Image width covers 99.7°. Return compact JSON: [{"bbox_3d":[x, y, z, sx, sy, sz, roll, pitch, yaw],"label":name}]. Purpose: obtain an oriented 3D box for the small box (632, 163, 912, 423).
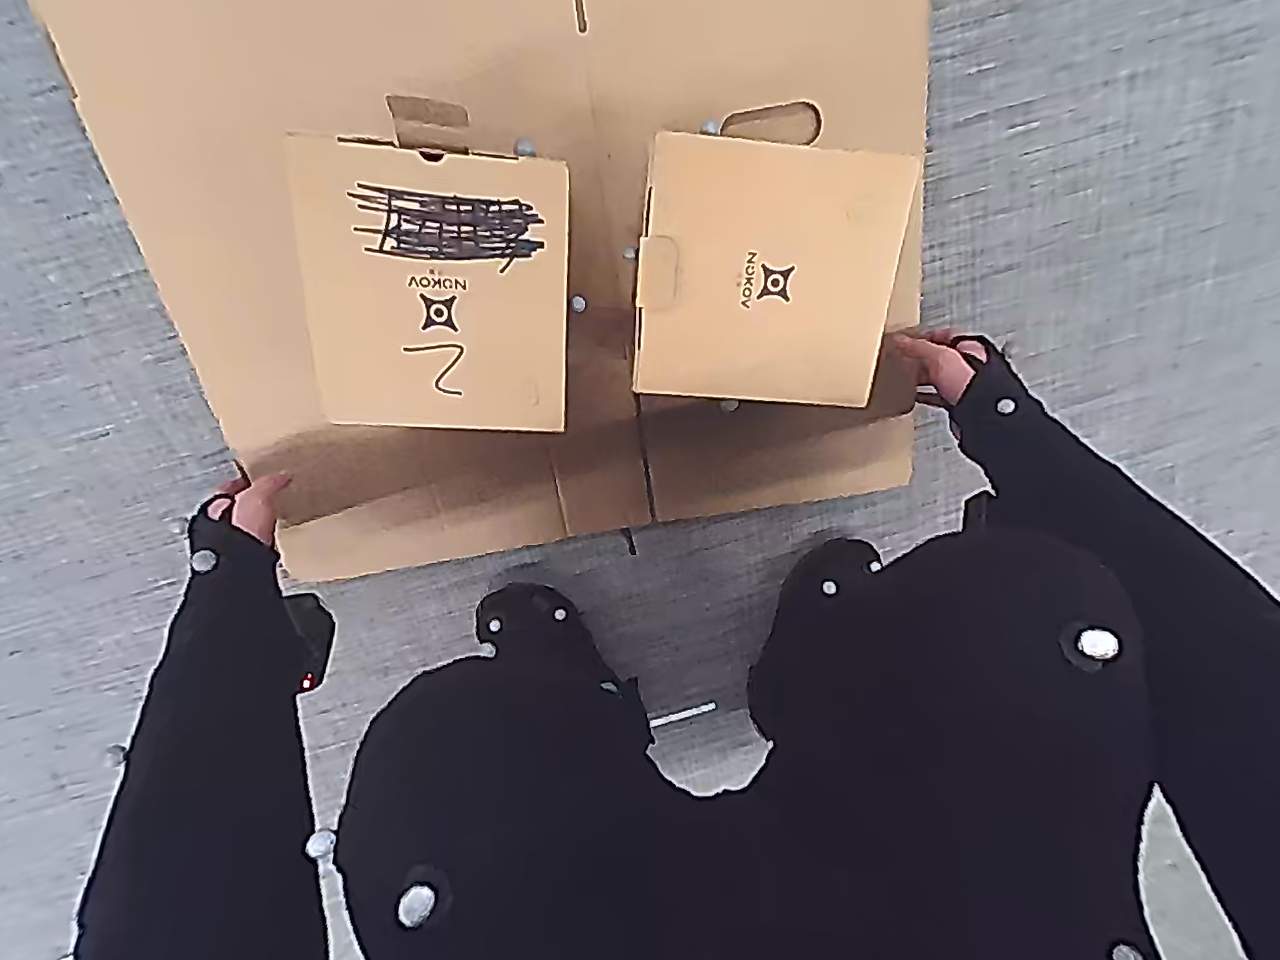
[{"bbox_3d":[0.087,-0.153,0.455,0.179,0.176,0.168,3,111,-3],"label":"small box"}]
